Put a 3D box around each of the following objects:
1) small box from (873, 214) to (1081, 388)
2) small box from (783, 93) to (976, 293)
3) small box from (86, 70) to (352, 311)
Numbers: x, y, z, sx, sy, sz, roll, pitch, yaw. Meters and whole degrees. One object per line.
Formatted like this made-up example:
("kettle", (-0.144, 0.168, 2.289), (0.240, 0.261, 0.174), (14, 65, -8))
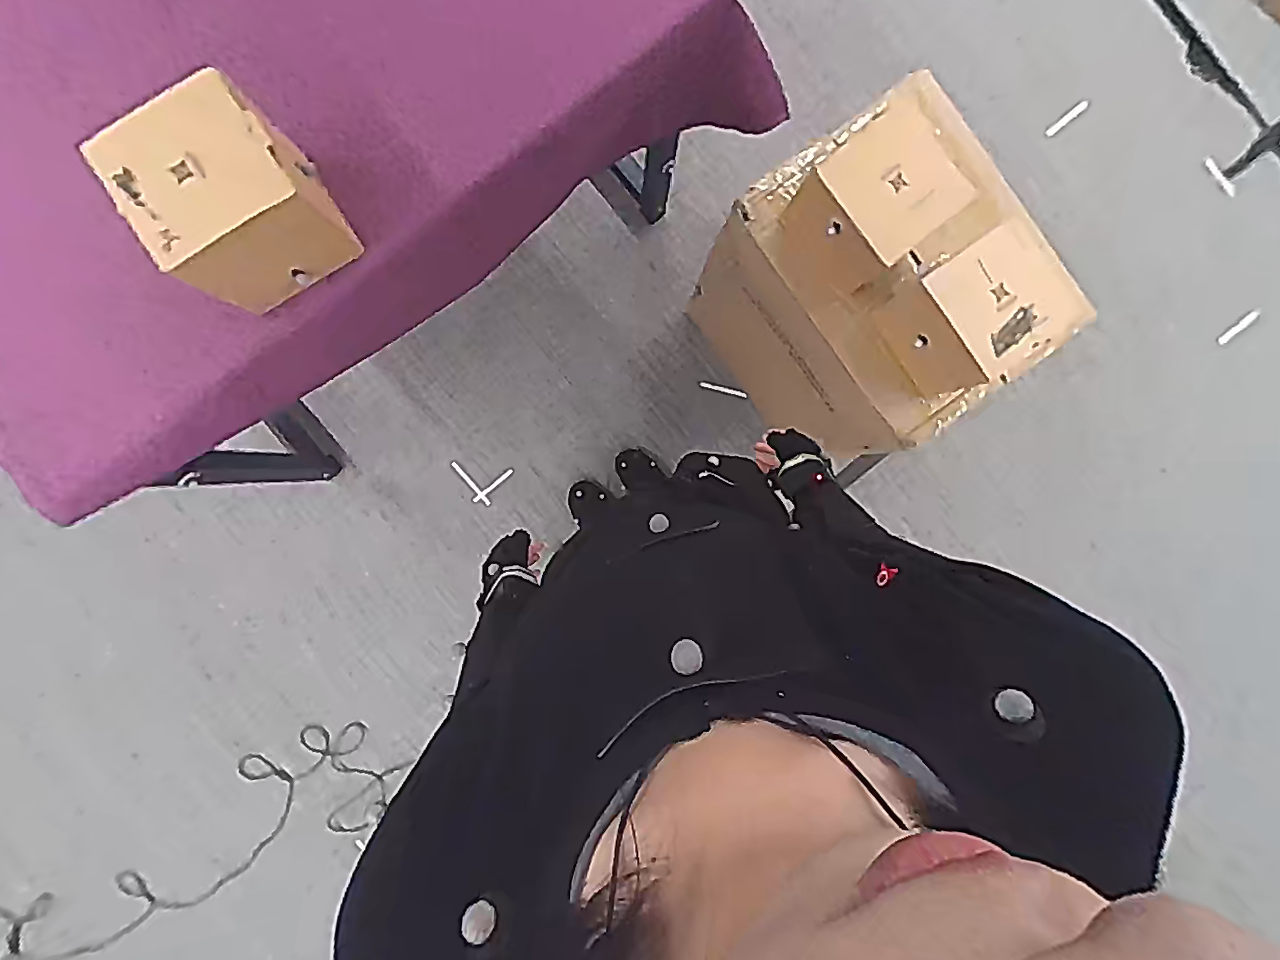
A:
("small box", (0.501, -0.257, 0.831), (0.168, 0.176, 0.179), (-35, 90, -1))
("small box", (0.348, -0.418, 0.824), (0.168, 0.176, 0.179), (-39, 94, 0))
("small box", (-0.499, -0.344, 0.679), (0.179, 0.176, 0.168), (-33, 91, -3))
